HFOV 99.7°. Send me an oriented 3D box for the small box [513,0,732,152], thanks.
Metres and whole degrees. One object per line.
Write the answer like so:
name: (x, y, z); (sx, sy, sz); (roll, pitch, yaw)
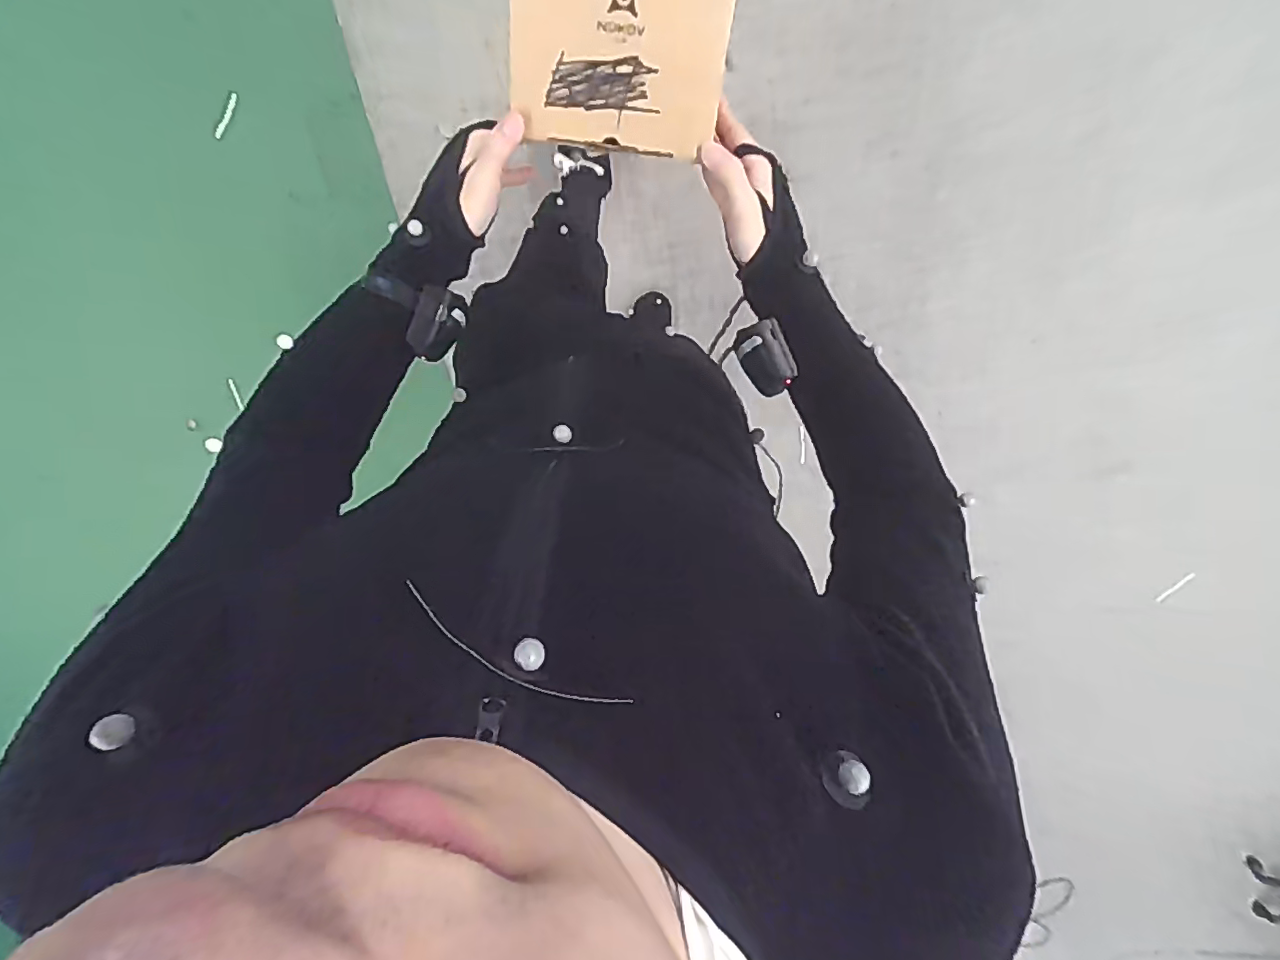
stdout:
small box: (-0.008, -0.396, 0.469); (0.168, 0.176, 0.179); (7, 119, -1)
